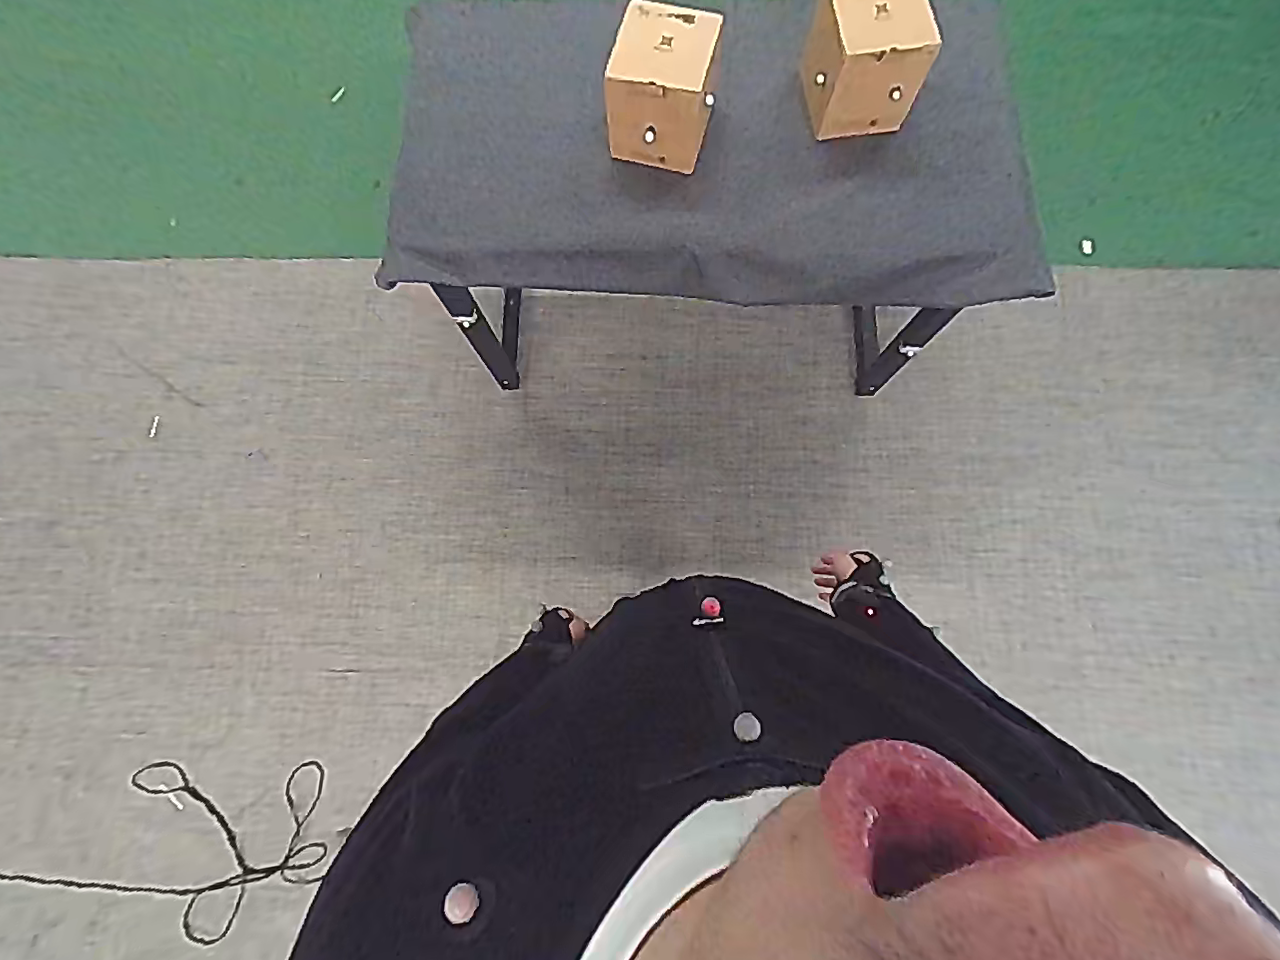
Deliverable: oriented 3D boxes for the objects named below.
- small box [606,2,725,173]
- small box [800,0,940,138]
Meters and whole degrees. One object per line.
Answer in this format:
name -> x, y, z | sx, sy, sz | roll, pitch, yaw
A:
small box -> 0.045, -0.701, 0.982 | 0.168, 0.176, 0.179 | 15, 77, 3
small box -> 0.412, -0.763, 0.997 | 0.168, 0.176, 0.179 | -7, 75, -3
